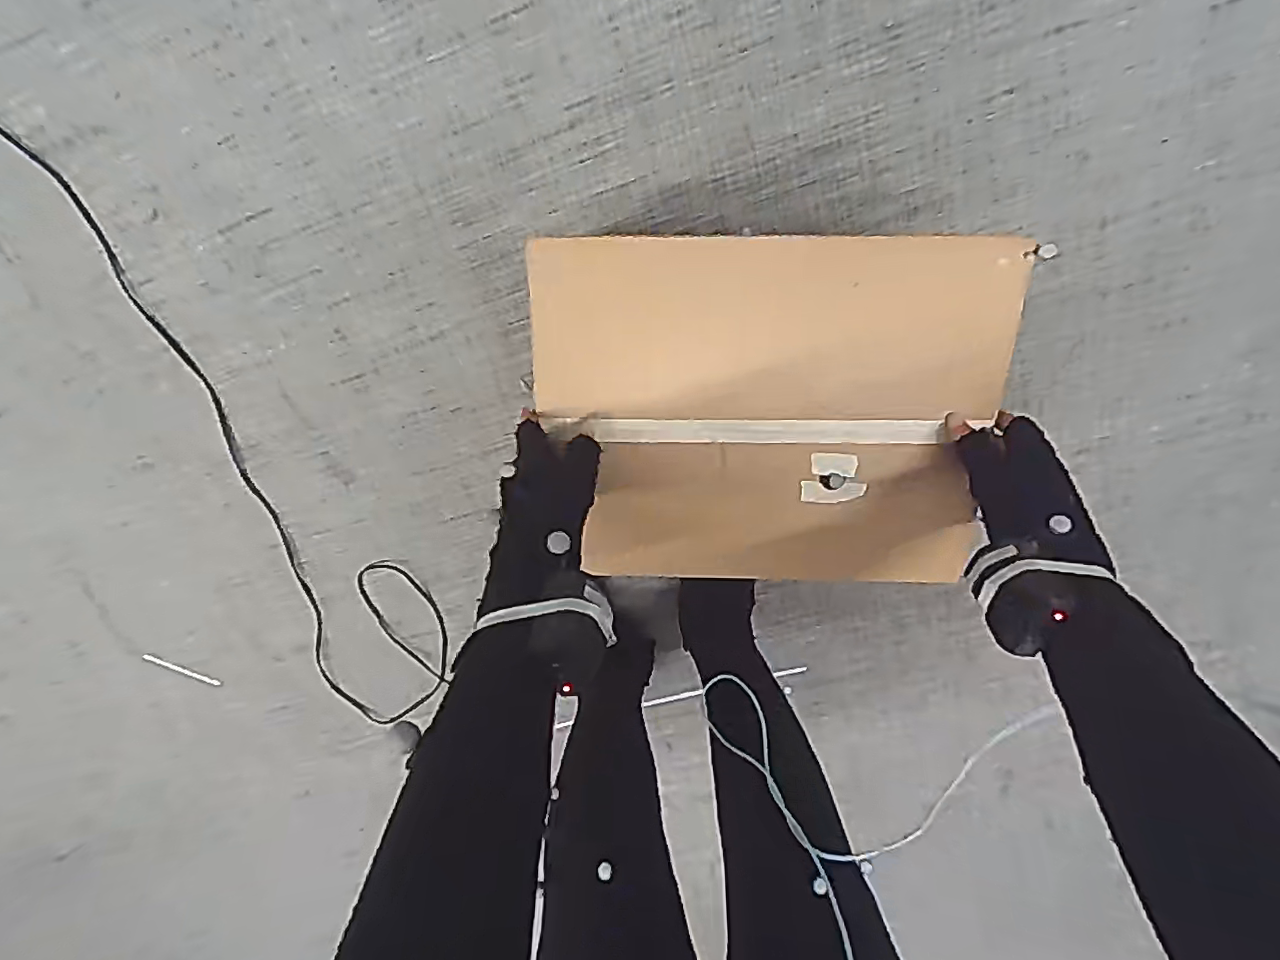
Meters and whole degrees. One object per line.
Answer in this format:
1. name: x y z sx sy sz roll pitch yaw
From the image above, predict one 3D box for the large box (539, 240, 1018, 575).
1. large box: 0.117 -0.099 0.637 0.408 0.320 0.320 0 111 1
